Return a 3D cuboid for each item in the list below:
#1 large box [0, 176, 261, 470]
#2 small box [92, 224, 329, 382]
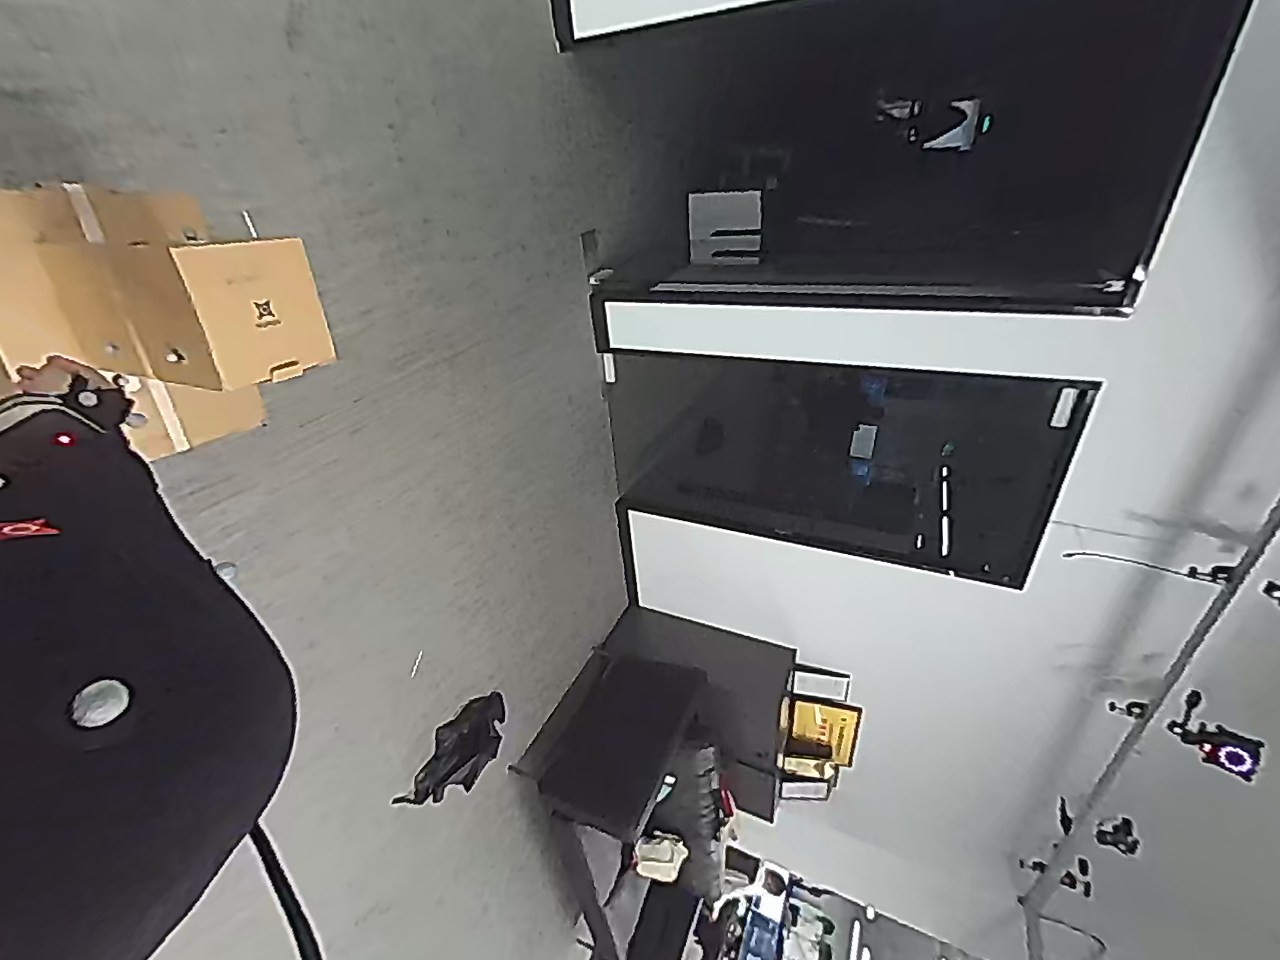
[{"bbox_3d":[-0.946,-0.279,0.910,0.320,0.320,0.408,-41,138,-53],"label":"large box"},{"bbox_3d":[-0.575,-0.249,0.739,0.168,0.176,0.179,-47,141,-53],"label":"small box"}]
